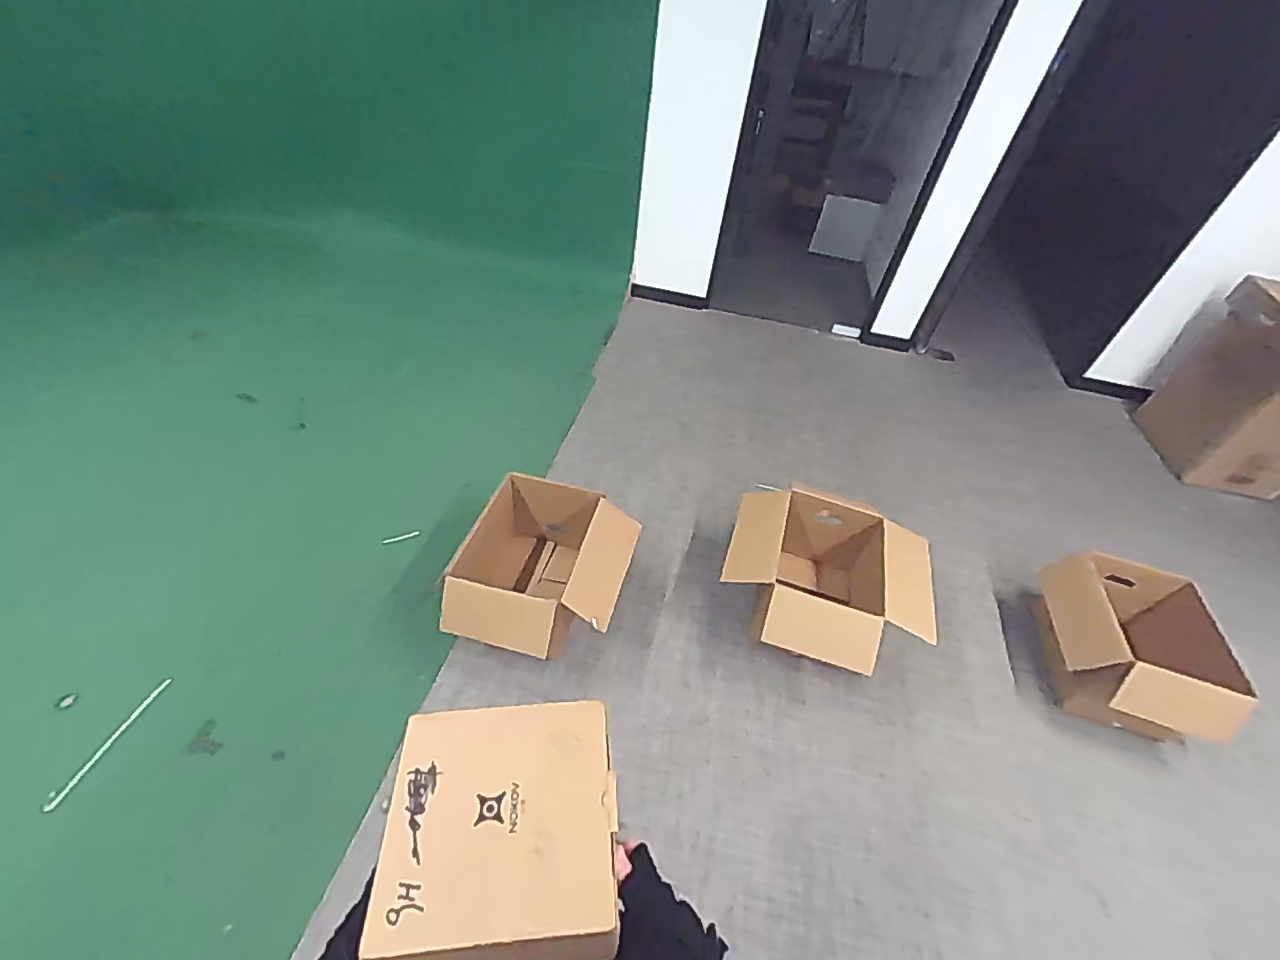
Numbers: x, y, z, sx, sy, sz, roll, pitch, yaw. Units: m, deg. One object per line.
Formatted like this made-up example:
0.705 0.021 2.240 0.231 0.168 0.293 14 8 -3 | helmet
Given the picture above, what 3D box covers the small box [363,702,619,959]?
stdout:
-0.113 0.318 0.486 0.179 0.176 0.168 0 42 -6 | small box
